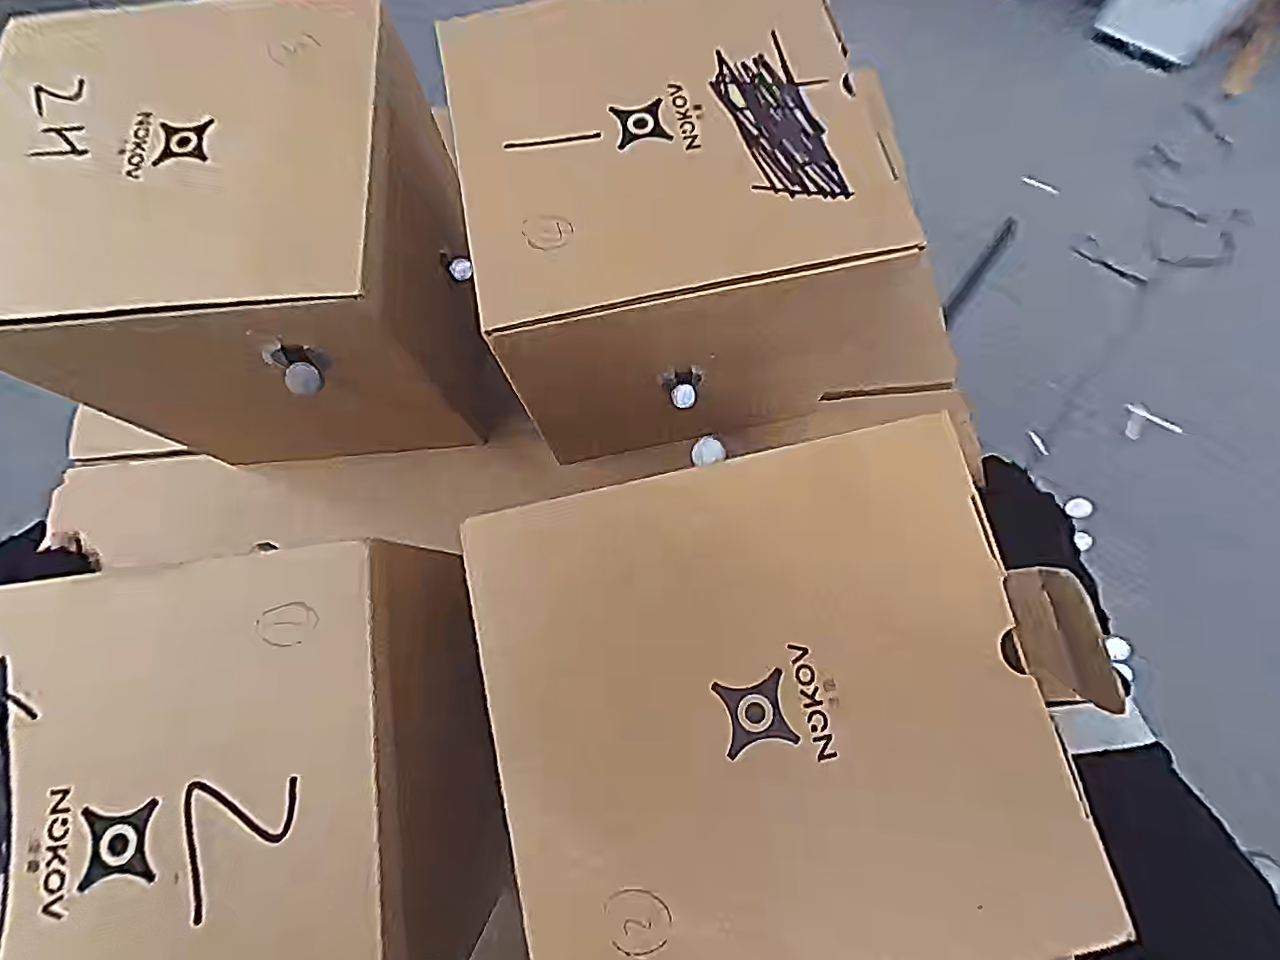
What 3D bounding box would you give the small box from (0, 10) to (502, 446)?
[{"bbox_3d":[-0.188,-0.125,0.320,0.179,0.176,0.168,-3,73,1],"label":"small box"}]
